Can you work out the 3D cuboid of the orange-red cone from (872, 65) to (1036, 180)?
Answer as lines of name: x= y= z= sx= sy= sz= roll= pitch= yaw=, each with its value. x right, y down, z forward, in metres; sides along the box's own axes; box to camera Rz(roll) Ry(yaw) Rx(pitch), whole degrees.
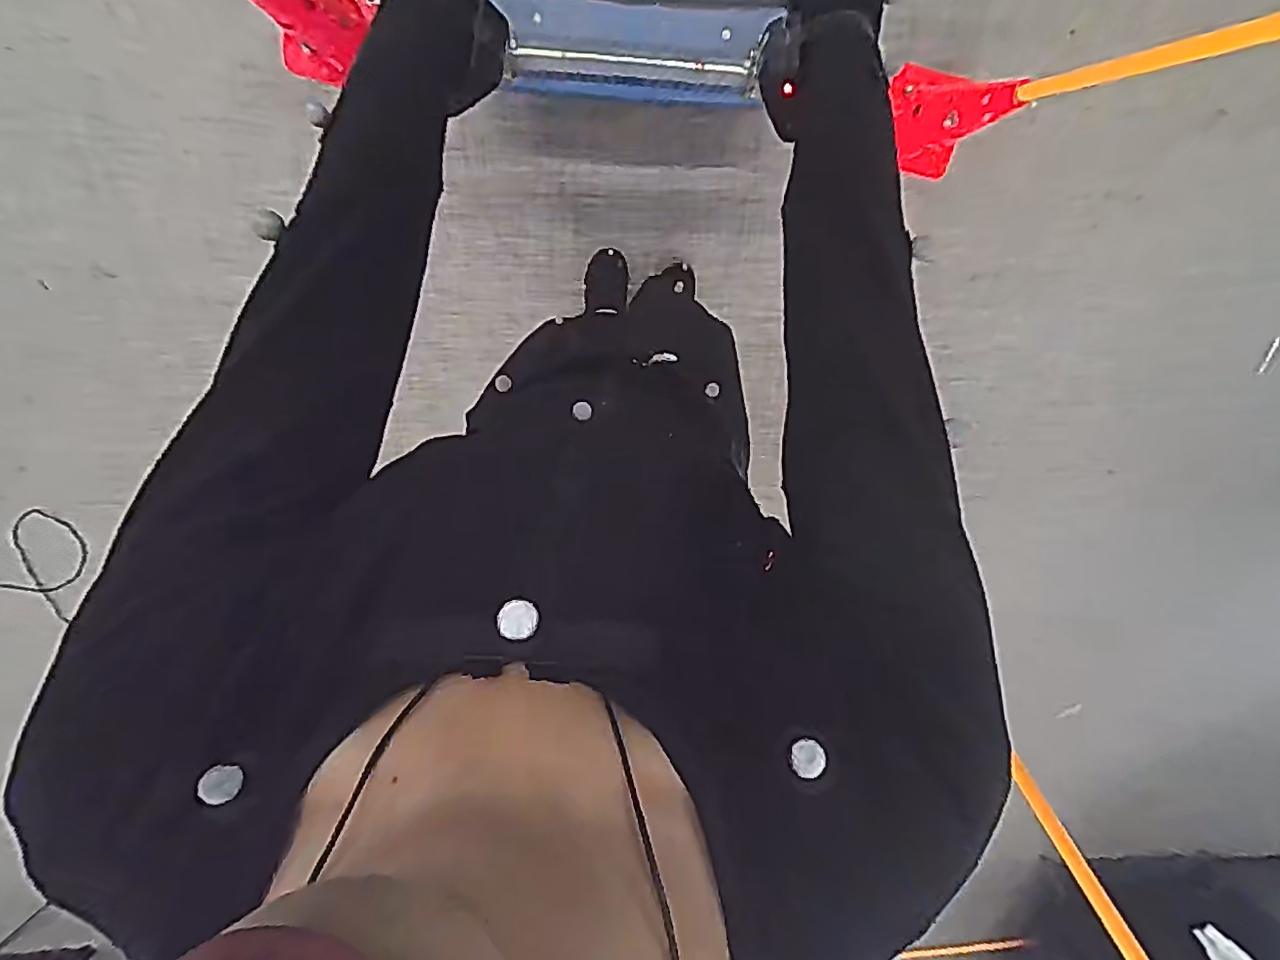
orange-red cone: x=0.656 y=-0.737 z=1.082 sx=0.198 sy=0.360 sz=0.199 roll=10 pitch=115 yaw=-7
